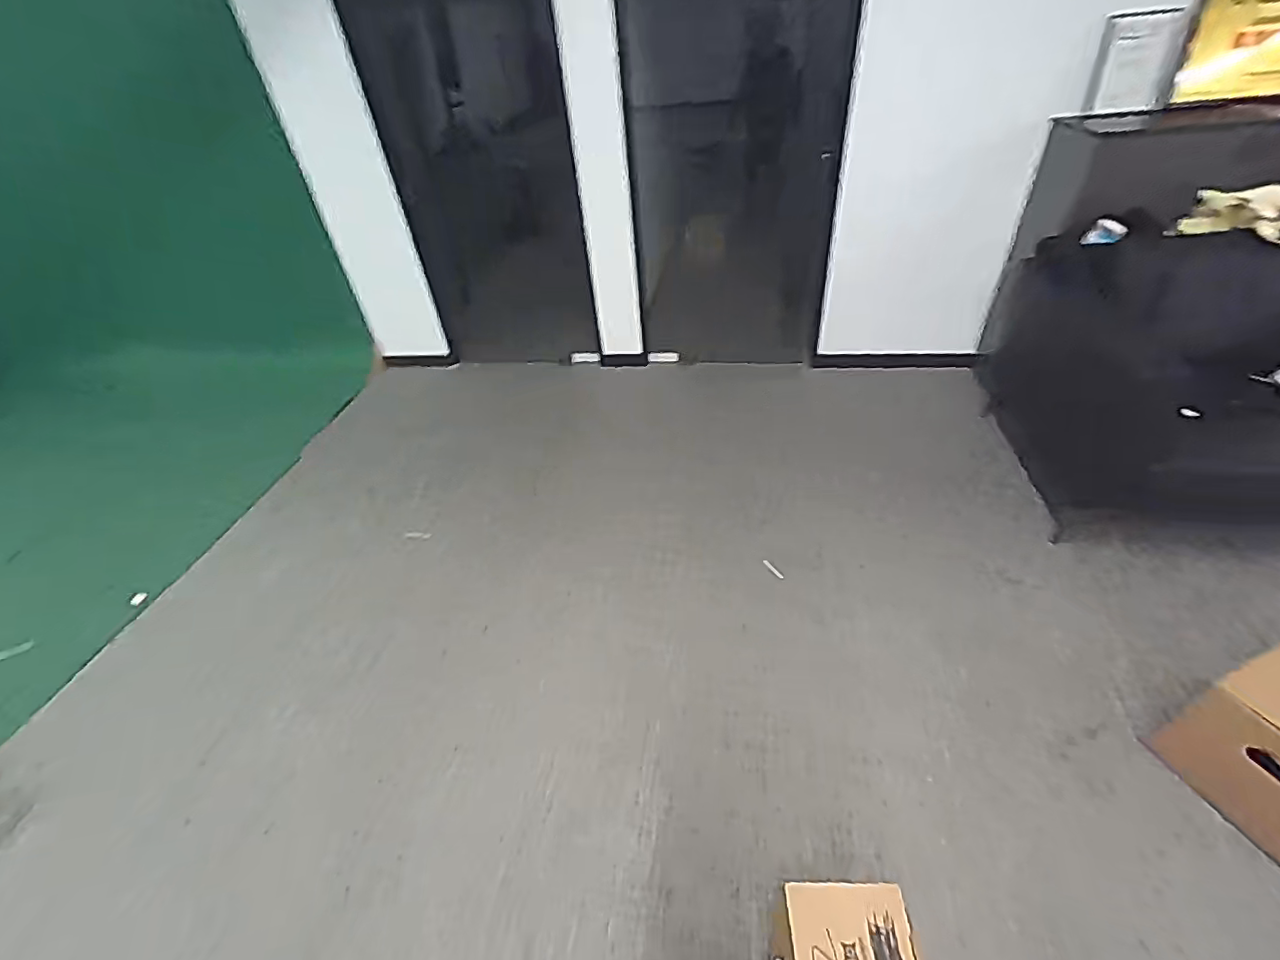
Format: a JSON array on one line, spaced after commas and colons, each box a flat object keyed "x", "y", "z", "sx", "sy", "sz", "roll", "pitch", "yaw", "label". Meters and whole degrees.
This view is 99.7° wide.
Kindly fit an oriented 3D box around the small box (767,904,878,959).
[{"x": 0.312, "y": 0.863, "z": 0.925, "sx": 0.168, "sy": 0.176, "sz": 0.179, "roll": 1, "pitch": 39, "yaw": 6, "label": "small box"}]
